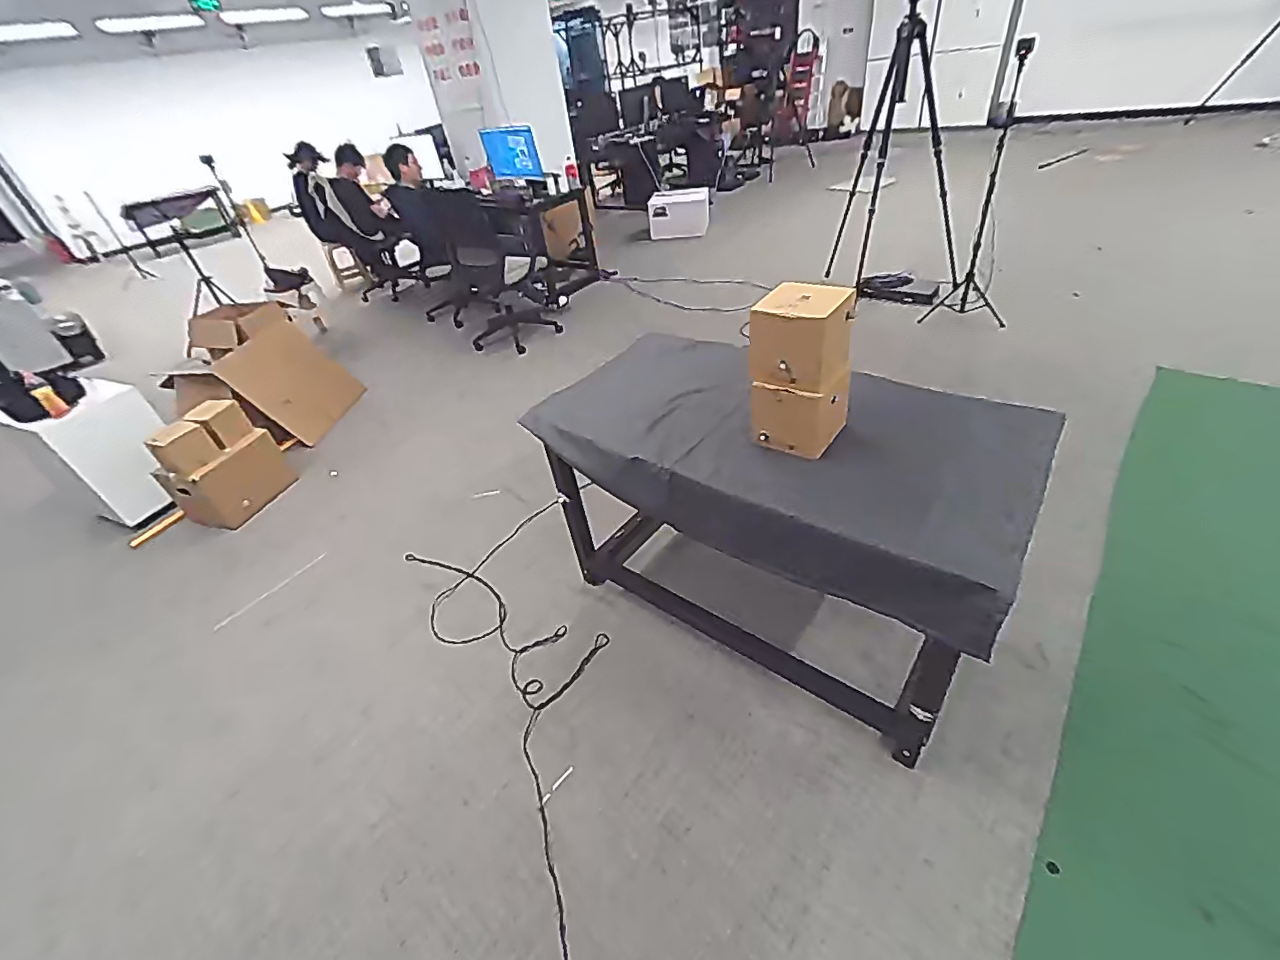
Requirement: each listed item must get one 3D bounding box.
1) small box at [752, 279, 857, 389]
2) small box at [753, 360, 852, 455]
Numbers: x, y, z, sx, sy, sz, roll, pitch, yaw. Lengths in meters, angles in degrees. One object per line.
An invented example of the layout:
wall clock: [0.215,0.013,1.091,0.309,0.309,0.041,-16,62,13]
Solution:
small box: [0.358,-0.322,1.188,0.168,0.176,0.179,19,47,33]
small box: [0.381,-0.182,1.273,0.168,0.176,0.179,21,46,33]
